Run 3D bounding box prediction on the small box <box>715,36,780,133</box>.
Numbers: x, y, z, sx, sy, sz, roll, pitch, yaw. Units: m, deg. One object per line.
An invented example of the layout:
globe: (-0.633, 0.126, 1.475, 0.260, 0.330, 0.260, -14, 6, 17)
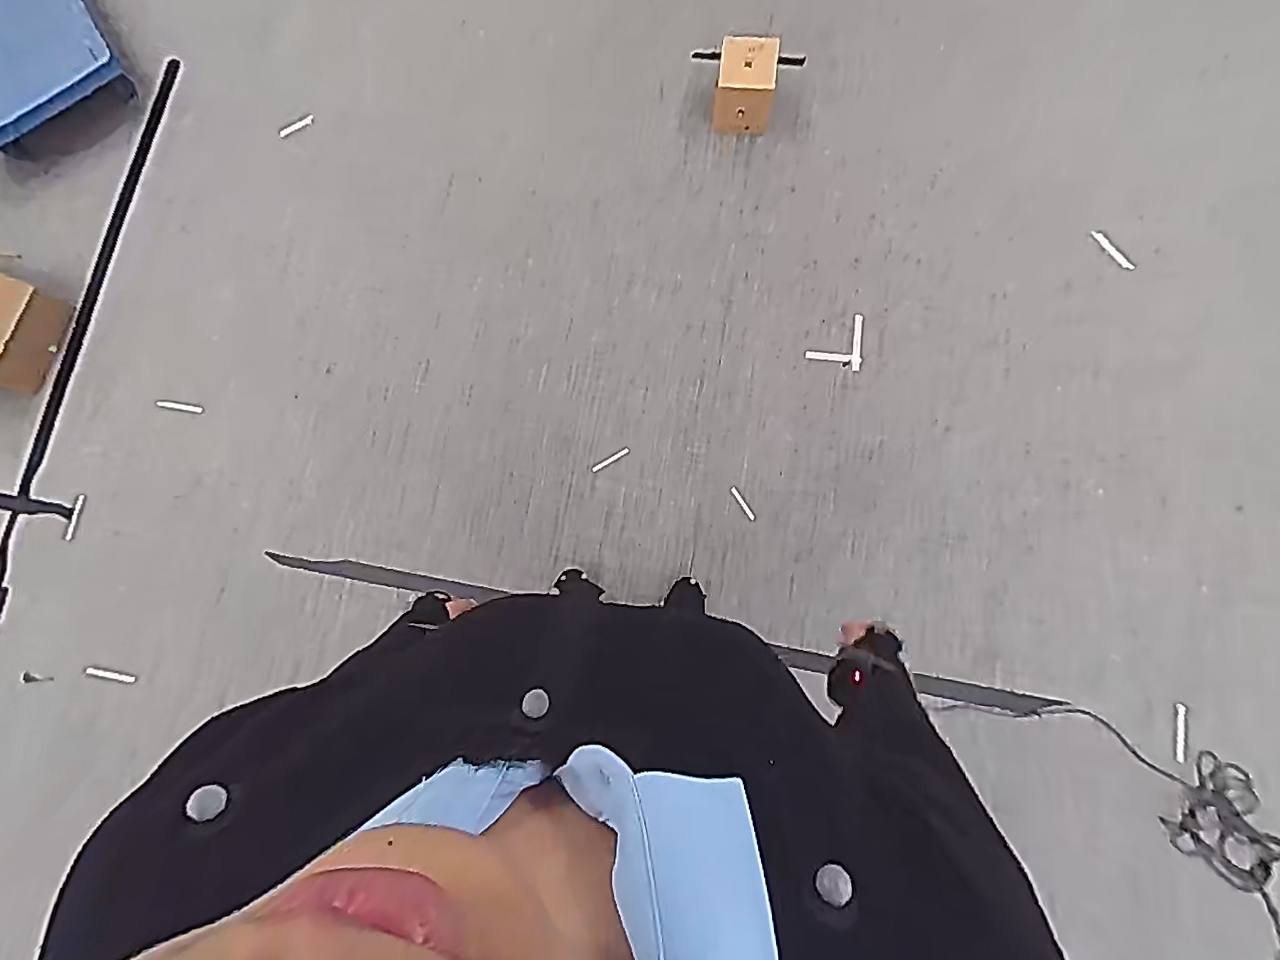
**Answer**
small box: (0.322, -1.198, 1.648, 0.168, 0.176, 0.179, 7, 80, 4)
